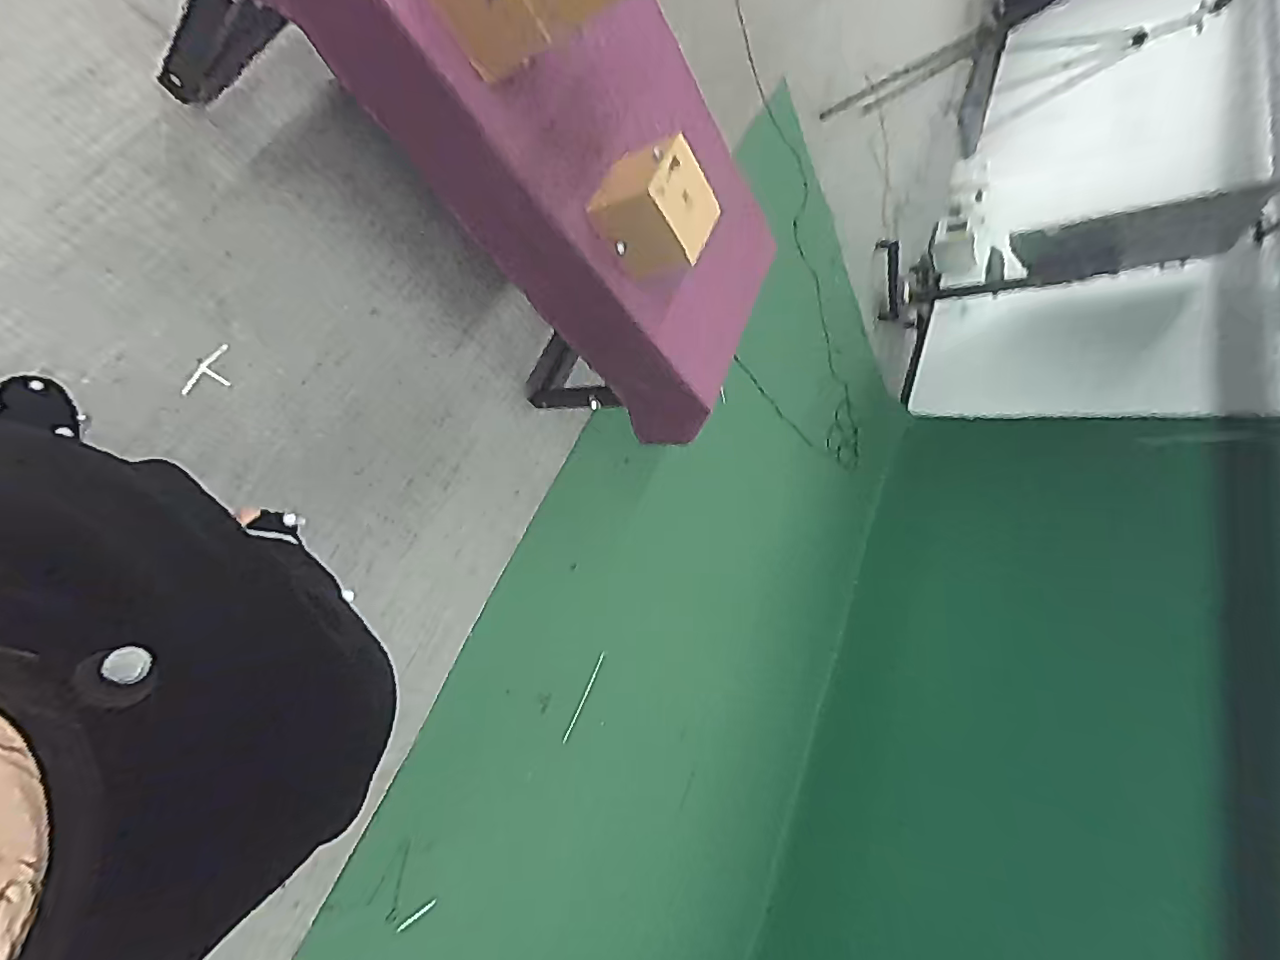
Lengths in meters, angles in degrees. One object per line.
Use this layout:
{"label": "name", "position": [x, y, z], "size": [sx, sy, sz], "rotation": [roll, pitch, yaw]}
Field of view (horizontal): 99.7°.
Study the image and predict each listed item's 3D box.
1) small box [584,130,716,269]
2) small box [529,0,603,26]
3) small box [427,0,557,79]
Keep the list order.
{"label": "small box", "position": [0.022, -0.550, 1.090], "size": [0.179, 0.176, 0.168], "rotation": [45, 61, -42]}
{"label": "small box", "position": [-0.081, -0.743, 0.701], "size": [0.179, 0.176, 0.168], "rotation": [45, 62, -41]}
{"label": "small box", "position": [-0.209, -0.755, 0.803], "size": [0.179, 0.176, 0.168], "rotation": [46, 61, -42]}
